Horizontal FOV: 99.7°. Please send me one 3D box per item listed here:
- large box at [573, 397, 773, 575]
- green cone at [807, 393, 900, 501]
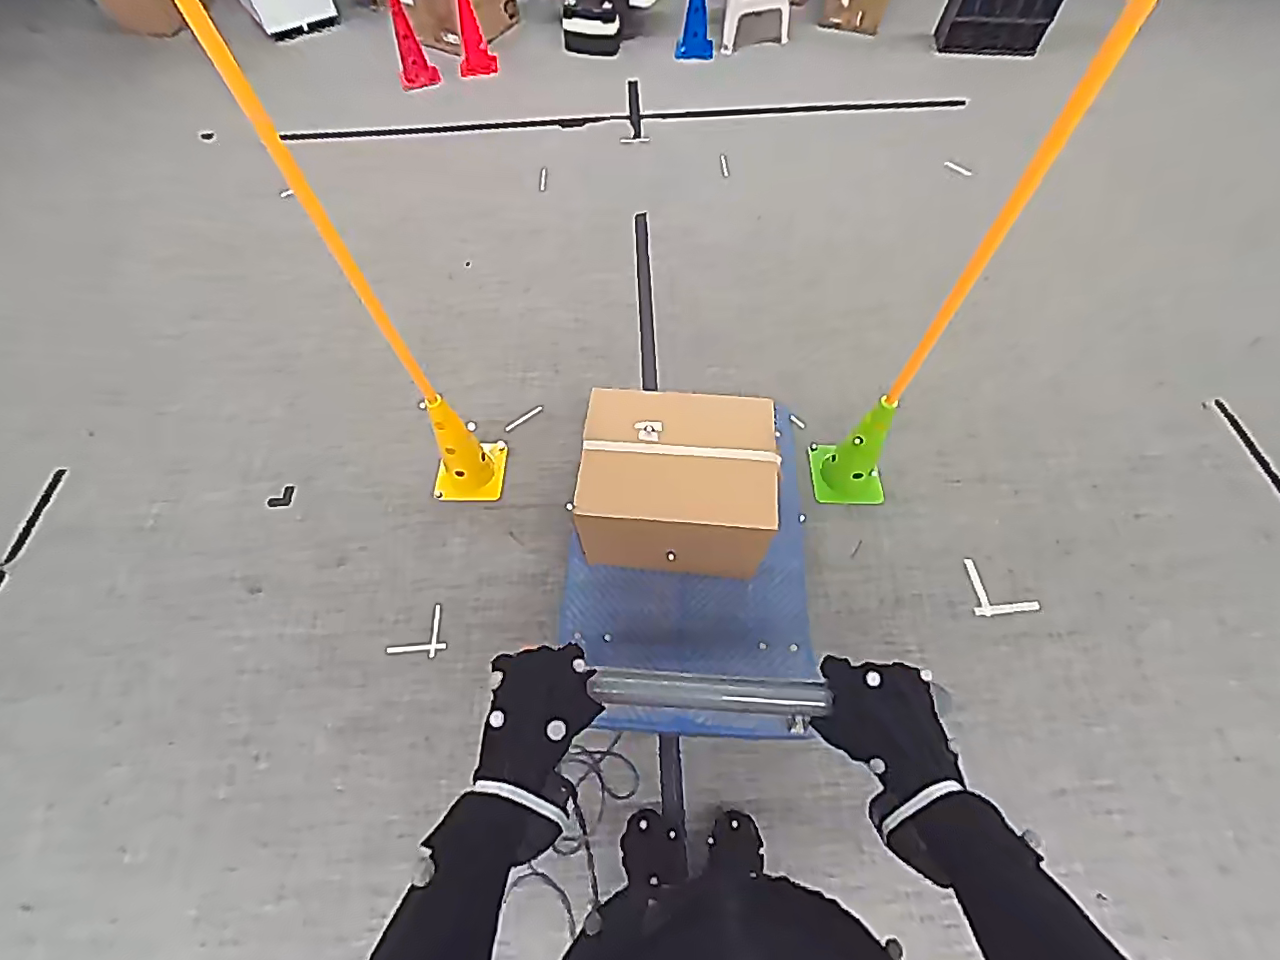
[{"bbox_3d":[0.081,0.024,1.267,0.408,0.320,0.320,3,62,4],"label":"large box"},{"bbox_3d":[0.617,-0.109,1.489,0.202,0.368,0.200,1,61,1],"label":"green cone"}]
